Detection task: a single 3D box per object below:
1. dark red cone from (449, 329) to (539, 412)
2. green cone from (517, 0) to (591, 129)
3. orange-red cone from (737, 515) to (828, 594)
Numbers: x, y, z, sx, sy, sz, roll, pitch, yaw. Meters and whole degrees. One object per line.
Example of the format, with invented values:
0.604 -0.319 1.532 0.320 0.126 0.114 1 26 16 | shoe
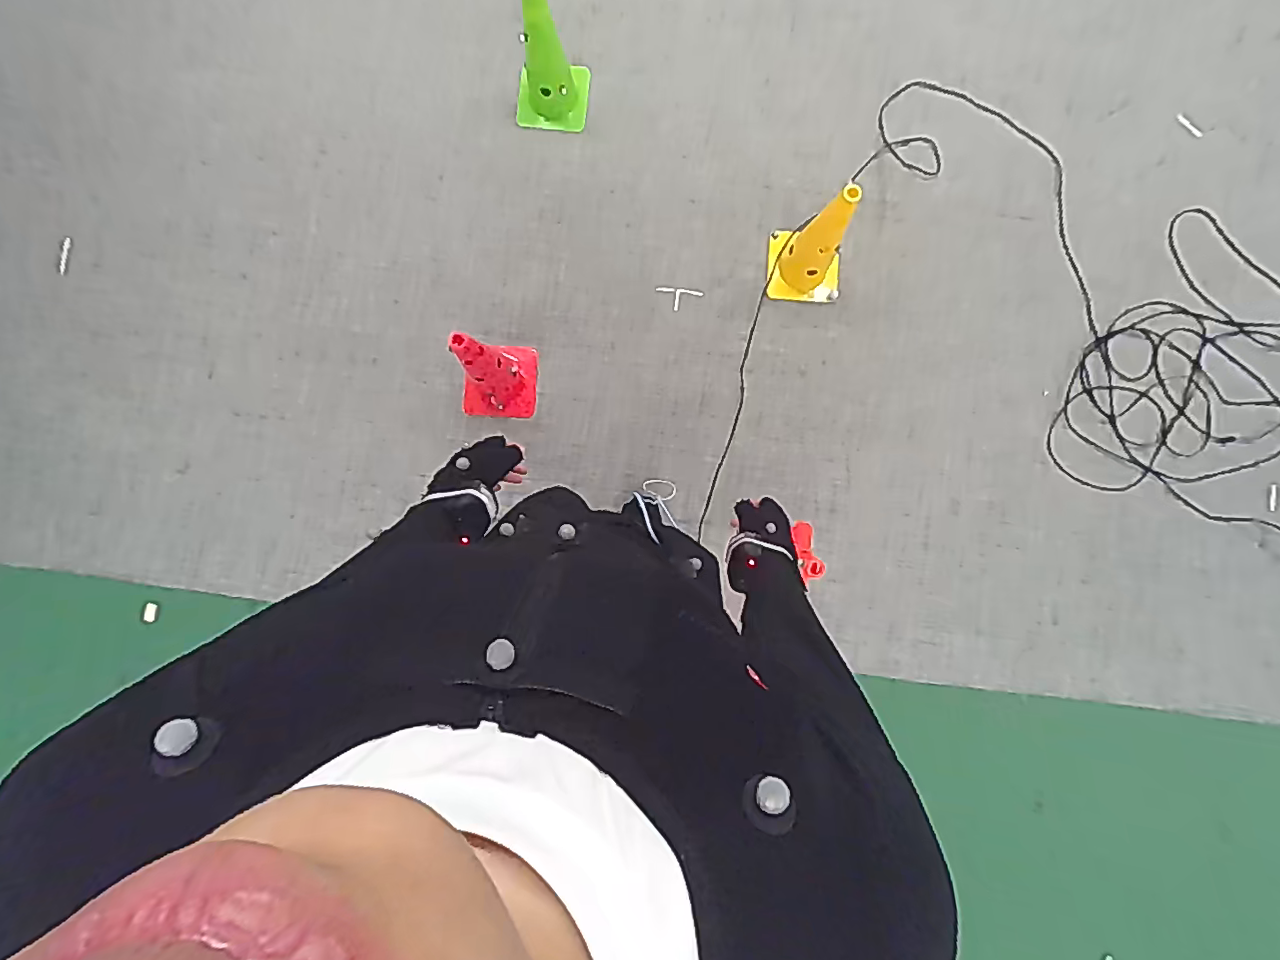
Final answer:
-0.380 -0.291 1.313 0.202 0.394 0.201 1 88 0 | dark red cone
-0.245 -1.124 1.388 0.202 0.368 0.200 5 87 -1 | green cone
0.372 0.191 1.305 0.198 0.360 0.199 8 86 0 | orange-red cone
